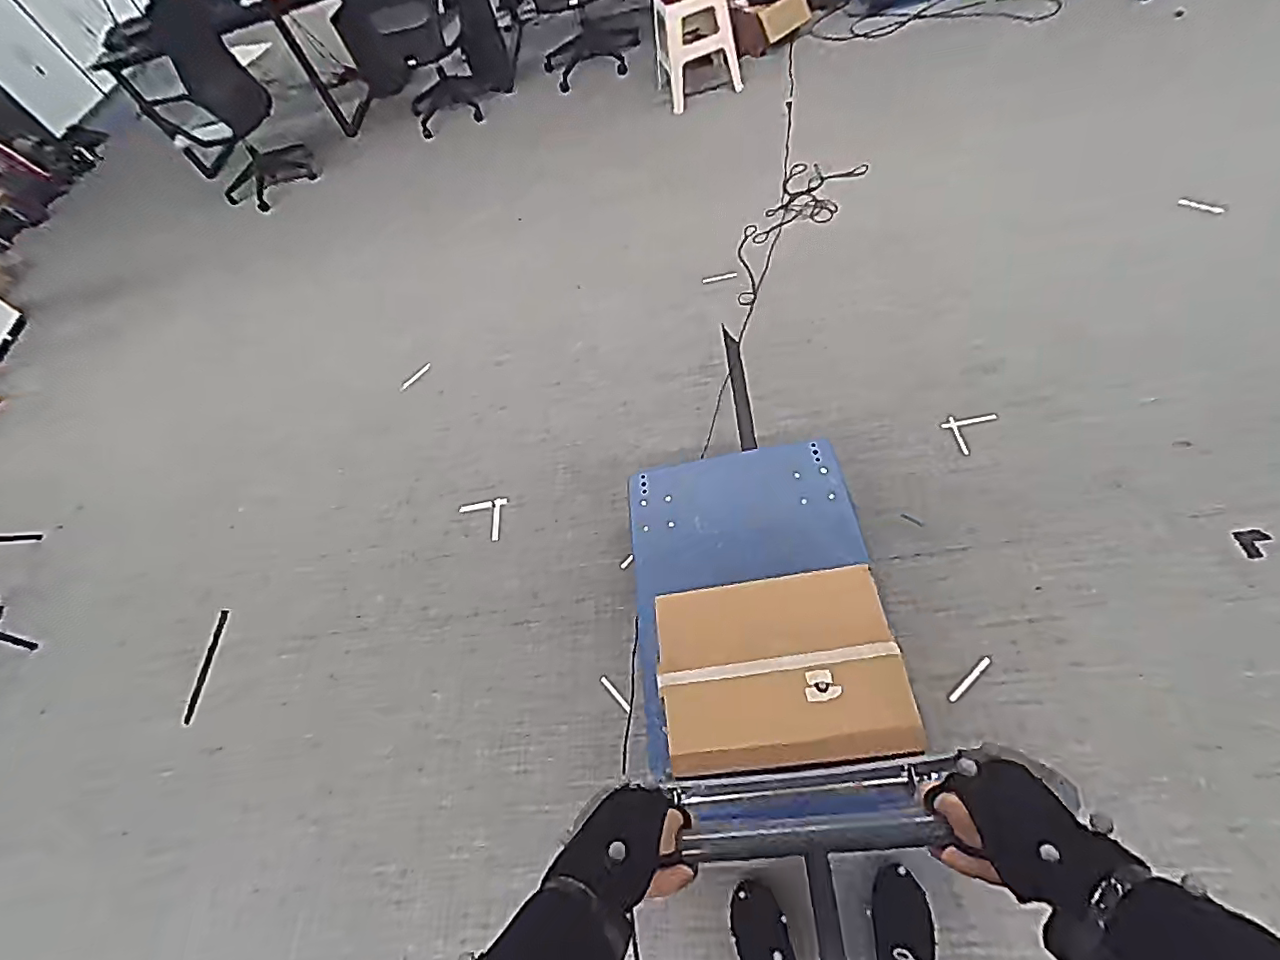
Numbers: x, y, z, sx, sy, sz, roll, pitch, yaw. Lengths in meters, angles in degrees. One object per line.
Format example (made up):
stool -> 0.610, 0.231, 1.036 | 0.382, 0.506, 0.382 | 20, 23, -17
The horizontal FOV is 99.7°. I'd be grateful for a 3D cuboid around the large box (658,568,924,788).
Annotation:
large box -> 0.271, 0.406, 1.073 | 0.408, 0.320, 0.320 | -11, 57, 8
